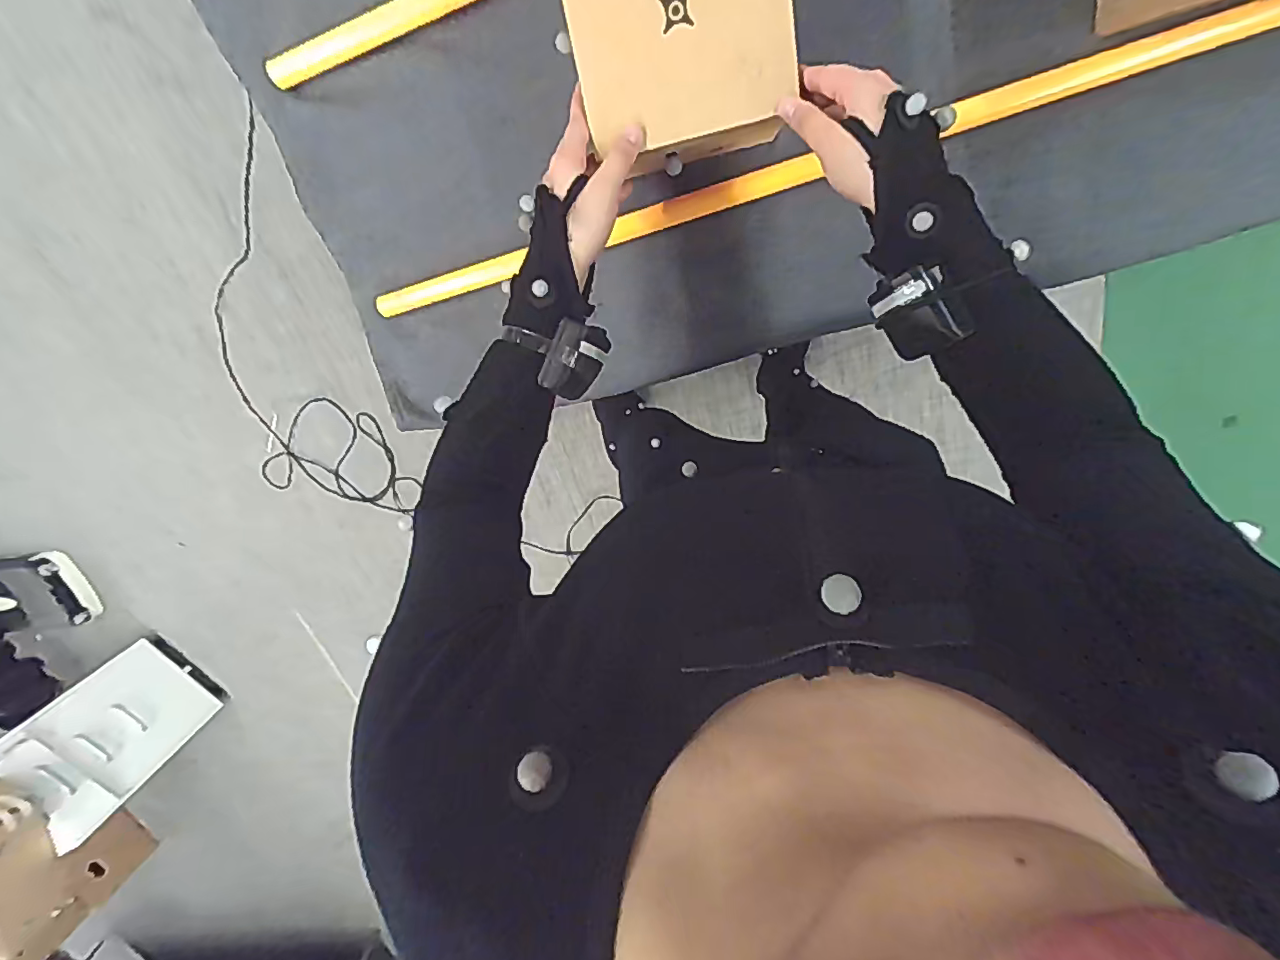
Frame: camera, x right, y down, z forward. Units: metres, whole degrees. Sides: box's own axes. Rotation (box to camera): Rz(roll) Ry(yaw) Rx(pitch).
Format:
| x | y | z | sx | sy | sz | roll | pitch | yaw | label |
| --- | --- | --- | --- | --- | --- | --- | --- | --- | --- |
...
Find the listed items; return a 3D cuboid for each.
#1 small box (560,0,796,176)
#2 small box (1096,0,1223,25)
| x | y | z | sx | sy | sz | roll | pitch | yaw | label |
| --- | --- | --- | --- | --- | --- | --- | --- | --- | --- |
| 0.034 | -0.378 | 0.467 | 0.168 | 0.176 | 0.179 | -9 | 113 | 10 | small box |
| 0.456 | -0.452 | 0.369 | 0.168 | 0.176 | 0.179 | -8 | 114 | 14 | small box |
